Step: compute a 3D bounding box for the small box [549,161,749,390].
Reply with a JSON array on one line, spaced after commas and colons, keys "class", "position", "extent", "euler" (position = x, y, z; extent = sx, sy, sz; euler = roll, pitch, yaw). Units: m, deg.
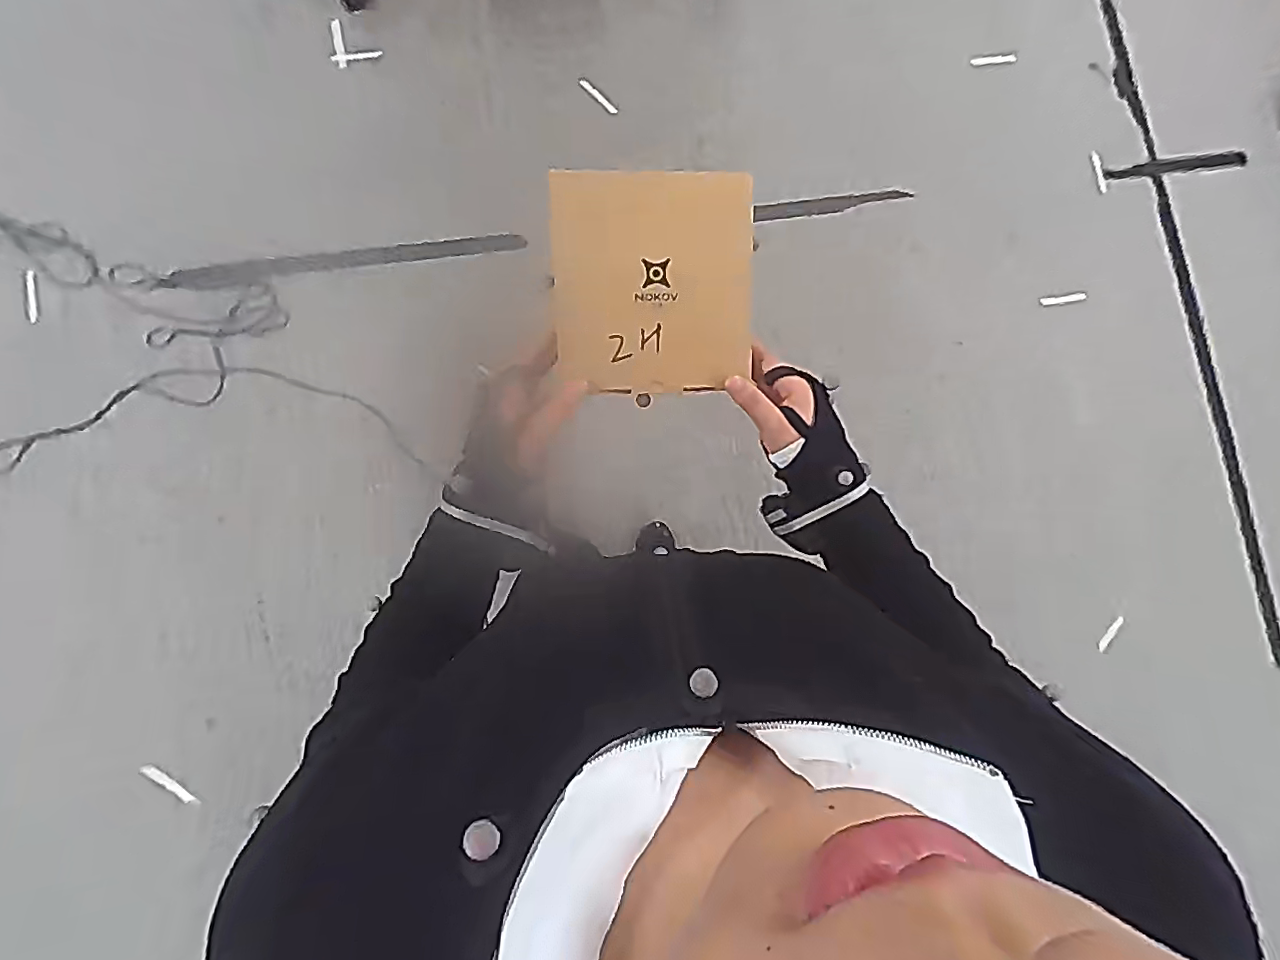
[{"class": "small box", "position": [0.002, -0.179, 0.523], "extent": [0.168, 0.176, 0.179], "euler": [-3, 99, -4]}]
